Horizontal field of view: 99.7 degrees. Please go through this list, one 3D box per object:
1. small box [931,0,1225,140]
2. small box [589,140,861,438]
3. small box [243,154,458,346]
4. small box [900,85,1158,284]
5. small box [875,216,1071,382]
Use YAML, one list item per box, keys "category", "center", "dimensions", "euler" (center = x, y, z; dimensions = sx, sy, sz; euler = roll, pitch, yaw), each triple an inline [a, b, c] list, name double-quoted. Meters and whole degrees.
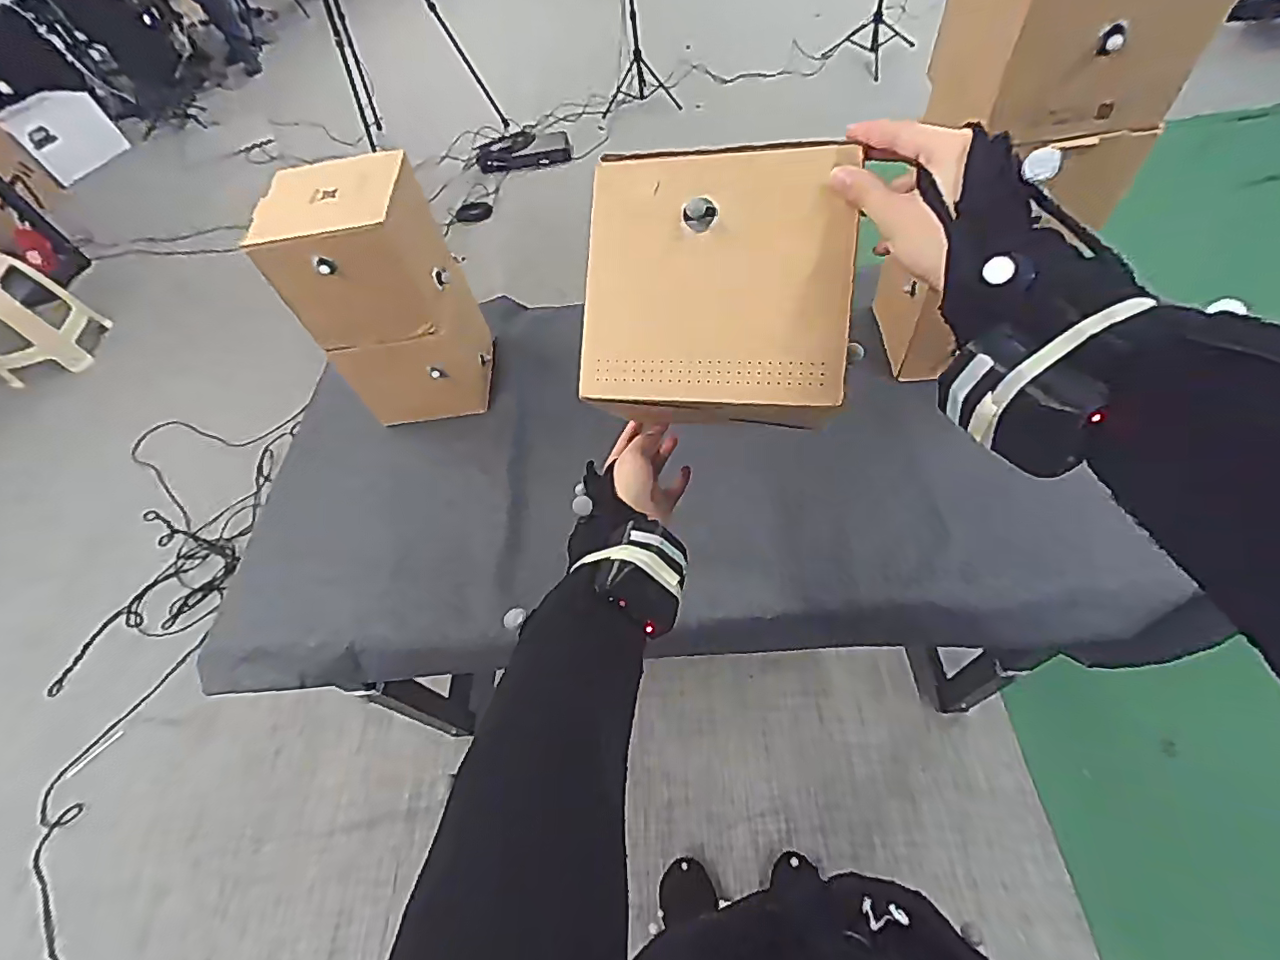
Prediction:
- category: "small box"
  center: [0.399, -0.439, 0.499]
  dimensions: [0.168, 0.176, 0.179]
  euler: [-4, 56, 6]
- category: "small box"
  center: [0.068, -0.128, 0.427]
  dimensions: [0.179, 0.168, 0.176]
  euler: [5, 91, 15]
- category: "small box"
  center: [-0.368, -0.299, 0.724]
  dimensions: [0.179, 0.176, 0.168]
  euler: [-7, 57, 2]
- category: "small box"
  center: [0.428, -0.349, 0.635]
  dimensions: [0.168, 0.176, 0.179]
  euler: [-3, 58, 7]
- category: "small box"
  center: [0.452, -0.263, 0.772]
  dimensions: [0.168, 0.176, 0.179]
  euler: [-3, 57, 7]
